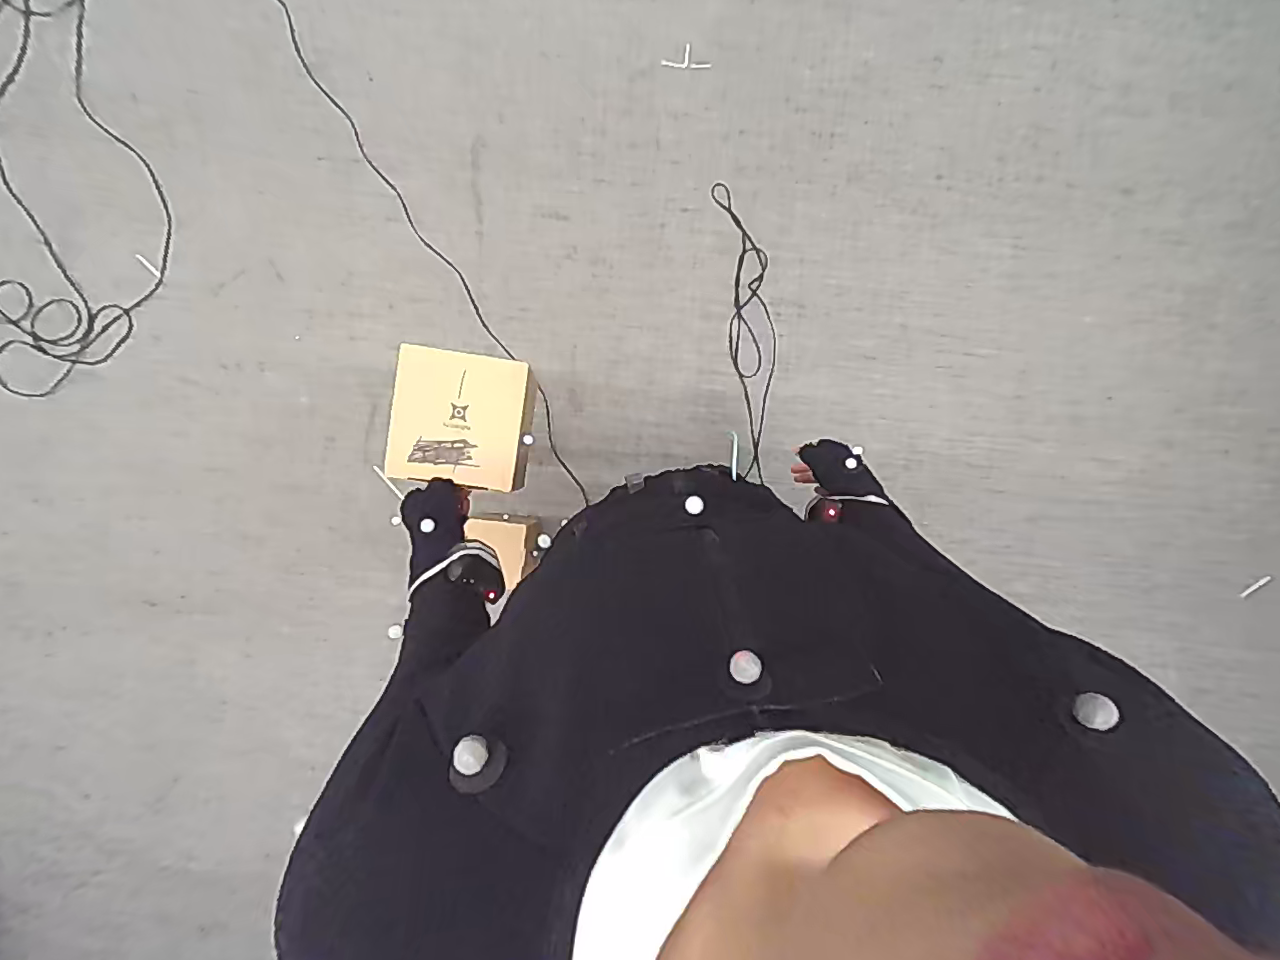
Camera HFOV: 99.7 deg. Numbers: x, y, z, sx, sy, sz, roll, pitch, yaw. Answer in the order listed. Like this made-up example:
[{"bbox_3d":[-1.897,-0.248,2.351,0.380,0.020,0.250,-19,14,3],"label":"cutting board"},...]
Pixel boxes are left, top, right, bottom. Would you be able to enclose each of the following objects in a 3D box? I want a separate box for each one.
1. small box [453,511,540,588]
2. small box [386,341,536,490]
[{"bbox_3d":[-0.363,0.174,1.398,0.179,0.176,0.168,6,90,0],"label":"small box"},{"bbox_3d":[-0.245,-0.085,0.782,0.168,0.176,0.179,8,90,-7],"label":"small box"}]
